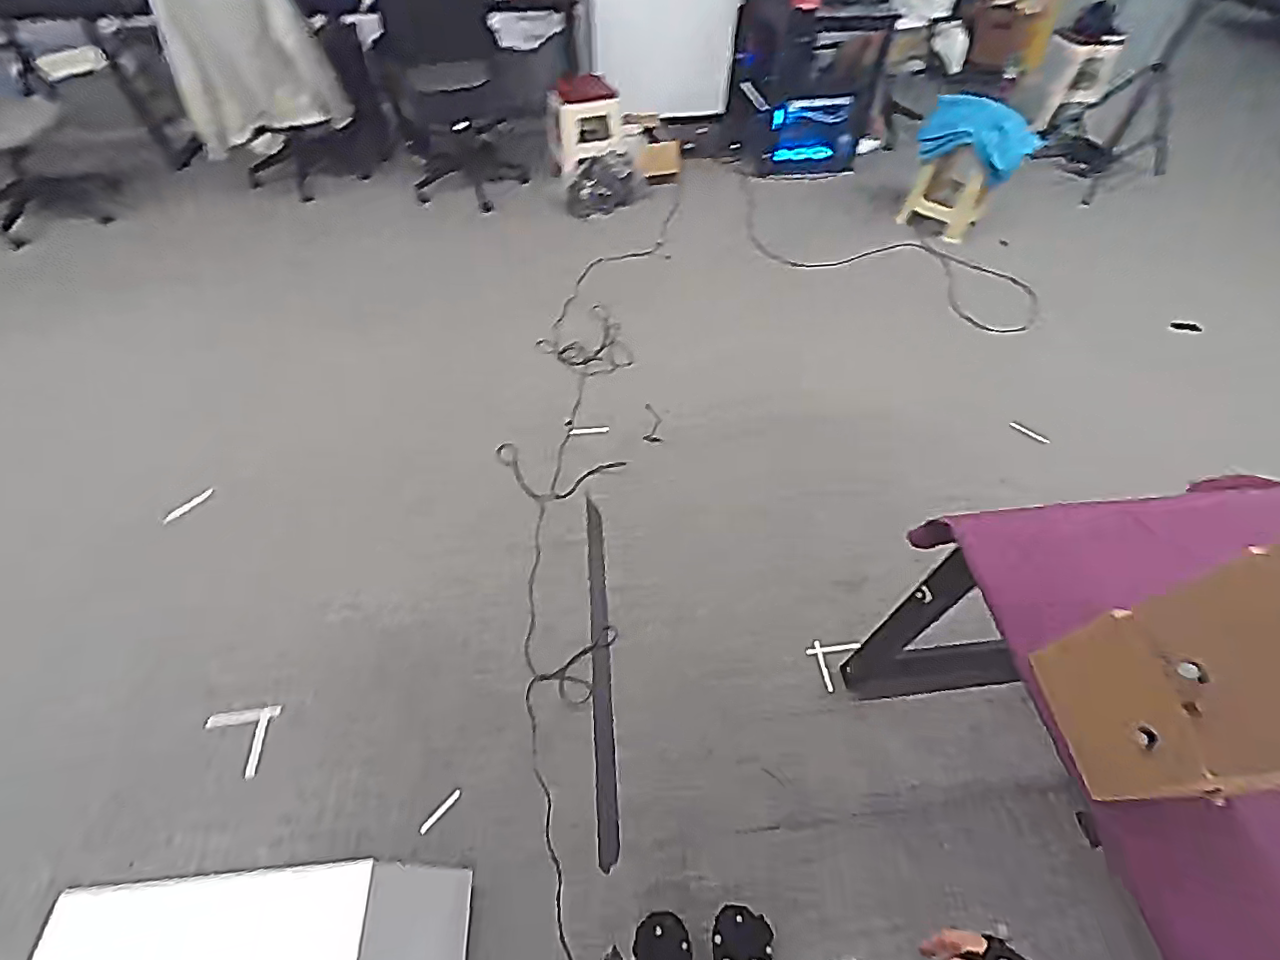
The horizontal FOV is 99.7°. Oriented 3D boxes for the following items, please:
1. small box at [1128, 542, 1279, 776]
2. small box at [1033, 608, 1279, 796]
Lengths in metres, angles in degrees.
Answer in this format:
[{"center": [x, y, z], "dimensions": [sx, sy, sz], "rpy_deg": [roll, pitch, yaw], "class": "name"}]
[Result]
[{"center": [0.629, 0.167, 0.498], "dimensions": [0.179, 0.176, 0.168], "rpy_deg": [-3, 54, -1], "class": "small box"}, {"center": [0.619, 0.263, 0.632], "dimensions": [0.168, 0.176, 0.179], "rpy_deg": [-1, 53, -2], "class": "small box"}]
